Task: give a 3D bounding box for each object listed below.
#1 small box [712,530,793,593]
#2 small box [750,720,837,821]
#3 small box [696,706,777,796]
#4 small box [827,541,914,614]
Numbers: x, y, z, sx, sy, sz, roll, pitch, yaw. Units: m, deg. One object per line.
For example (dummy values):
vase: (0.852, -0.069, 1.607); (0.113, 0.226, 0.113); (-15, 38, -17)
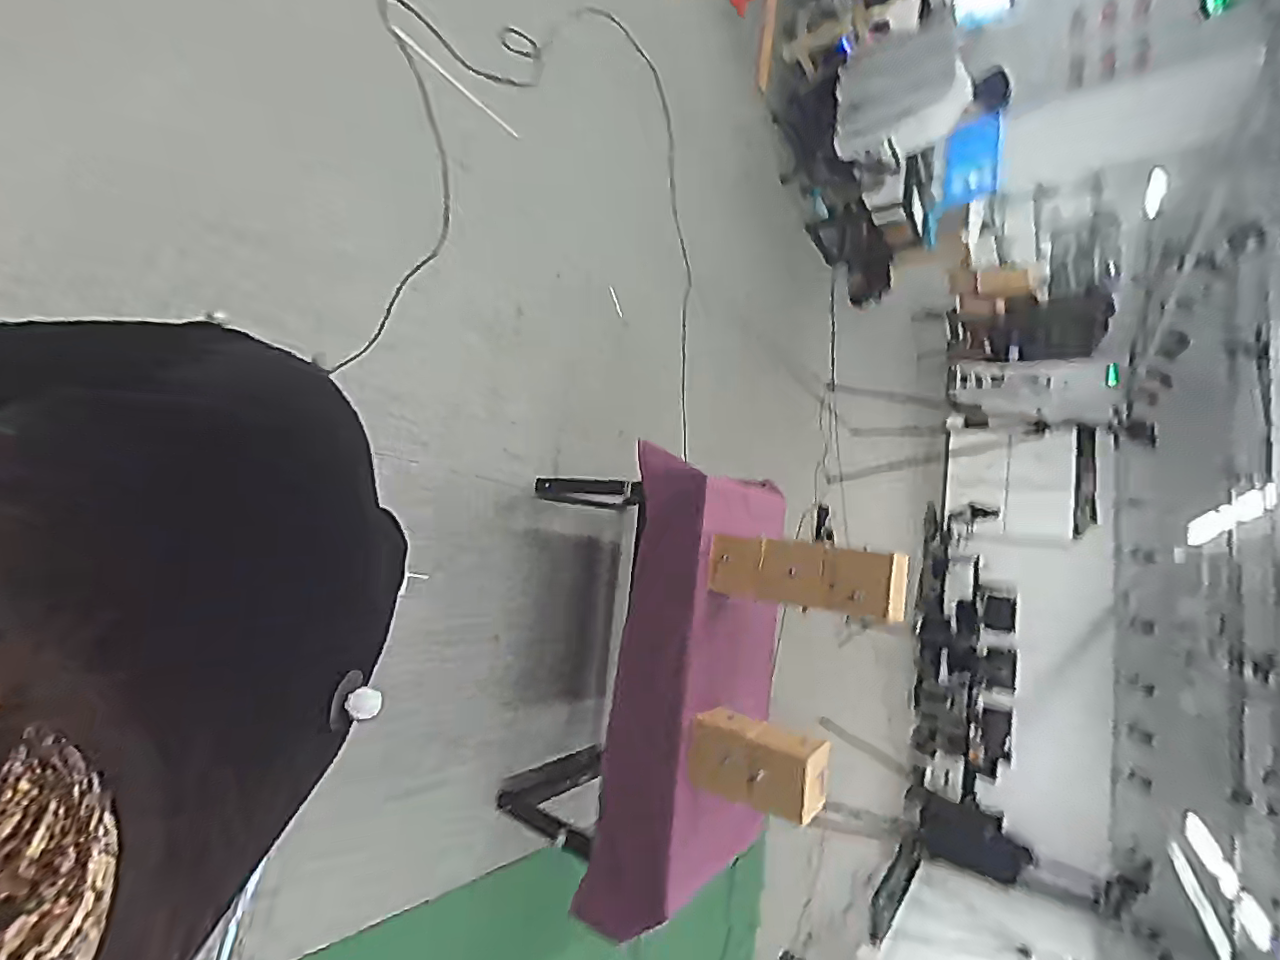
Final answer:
small box: (0.331, 0.238, 1.589); (0.179, 0.176, 0.168); (14, 80, -51)
small box: (0.409, 0.757, 1.434); (0.179, 0.176, 0.168); (11, 82, -52)
small box: (0.273, 0.753, 1.527); (0.168, 0.176, 0.179); (15, 79, -51)
small box: (0.593, 0.250, 1.393); (0.179, 0.176, 0.168); (17, 79, -52)
